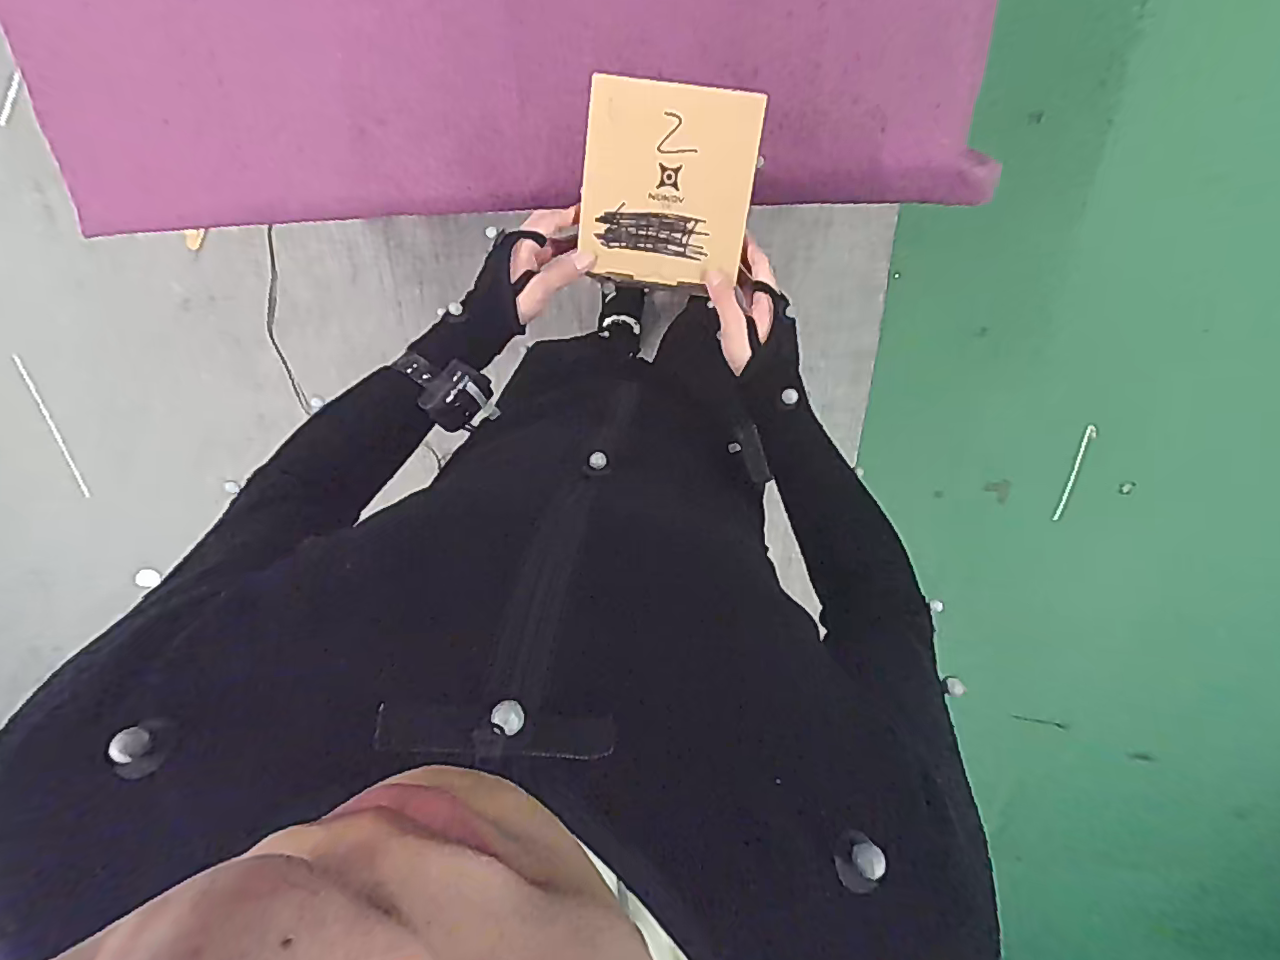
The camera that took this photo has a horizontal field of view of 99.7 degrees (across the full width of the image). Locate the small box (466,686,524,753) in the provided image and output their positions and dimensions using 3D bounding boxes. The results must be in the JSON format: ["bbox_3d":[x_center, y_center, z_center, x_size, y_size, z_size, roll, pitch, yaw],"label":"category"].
[{"bbox_3d":[-0.549,0.918,2.079,0.179,0.176,0.168,3,115,3],"label":"small box"}]
